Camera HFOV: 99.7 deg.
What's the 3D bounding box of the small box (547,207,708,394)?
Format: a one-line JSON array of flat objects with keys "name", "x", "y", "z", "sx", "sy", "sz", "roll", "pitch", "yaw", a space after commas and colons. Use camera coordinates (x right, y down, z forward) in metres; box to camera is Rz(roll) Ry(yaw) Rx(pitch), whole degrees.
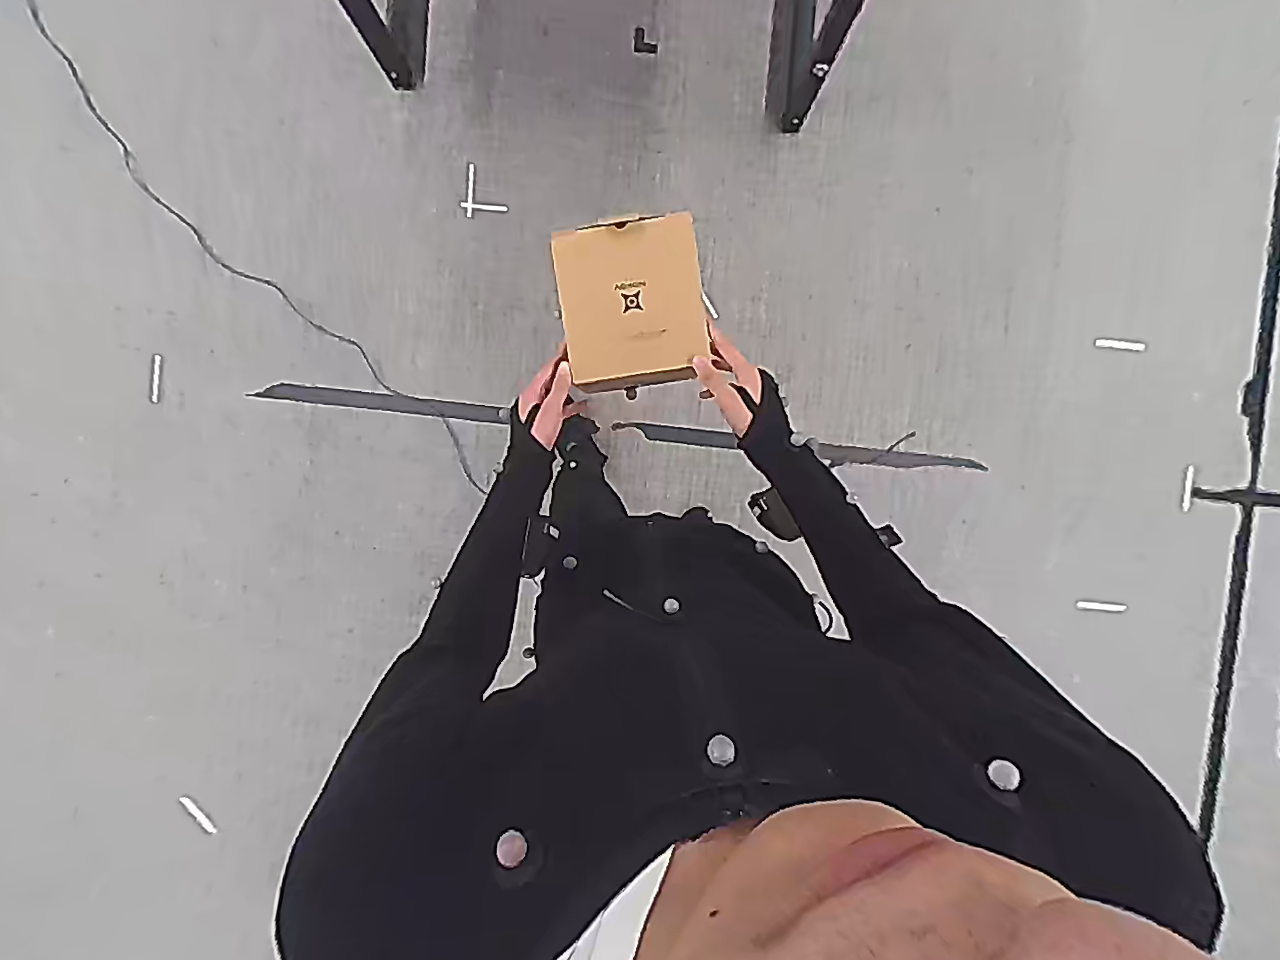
[{"name": "small box", "x": -0.014, "y": -0.217, "z": 0.696, "sx": 0.168, "sy": 0.176, "sz": 0.179, "roll": -9, "pitch": 94, "yaw": 1}]
